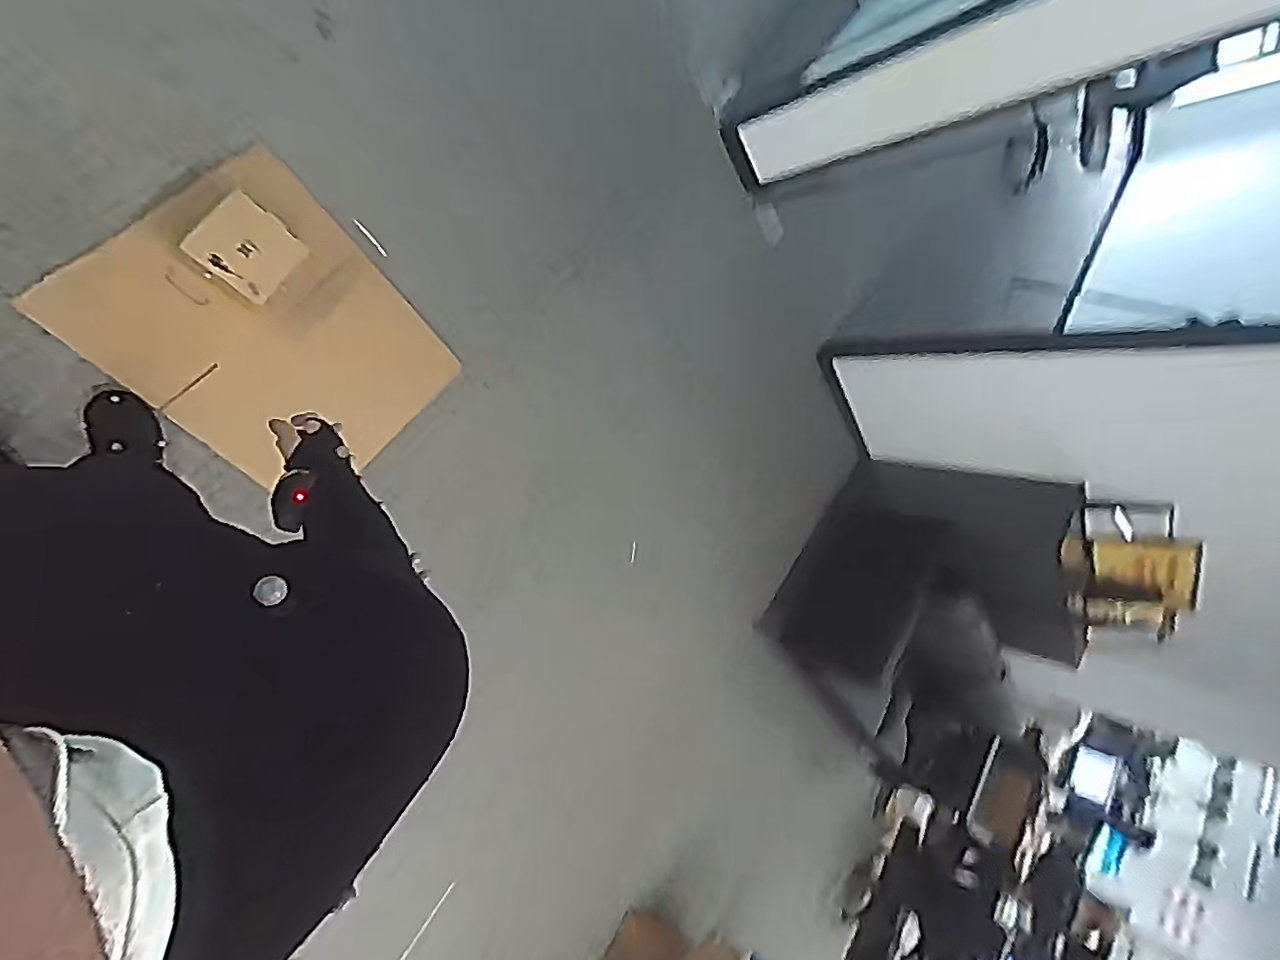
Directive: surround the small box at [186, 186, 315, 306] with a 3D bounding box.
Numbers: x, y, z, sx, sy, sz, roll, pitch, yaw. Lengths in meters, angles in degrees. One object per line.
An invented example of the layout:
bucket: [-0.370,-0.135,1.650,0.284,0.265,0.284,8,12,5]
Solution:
small box: [-0.874,-0.512,1.207,0.168,0.176,0.179,44,70,-38]
